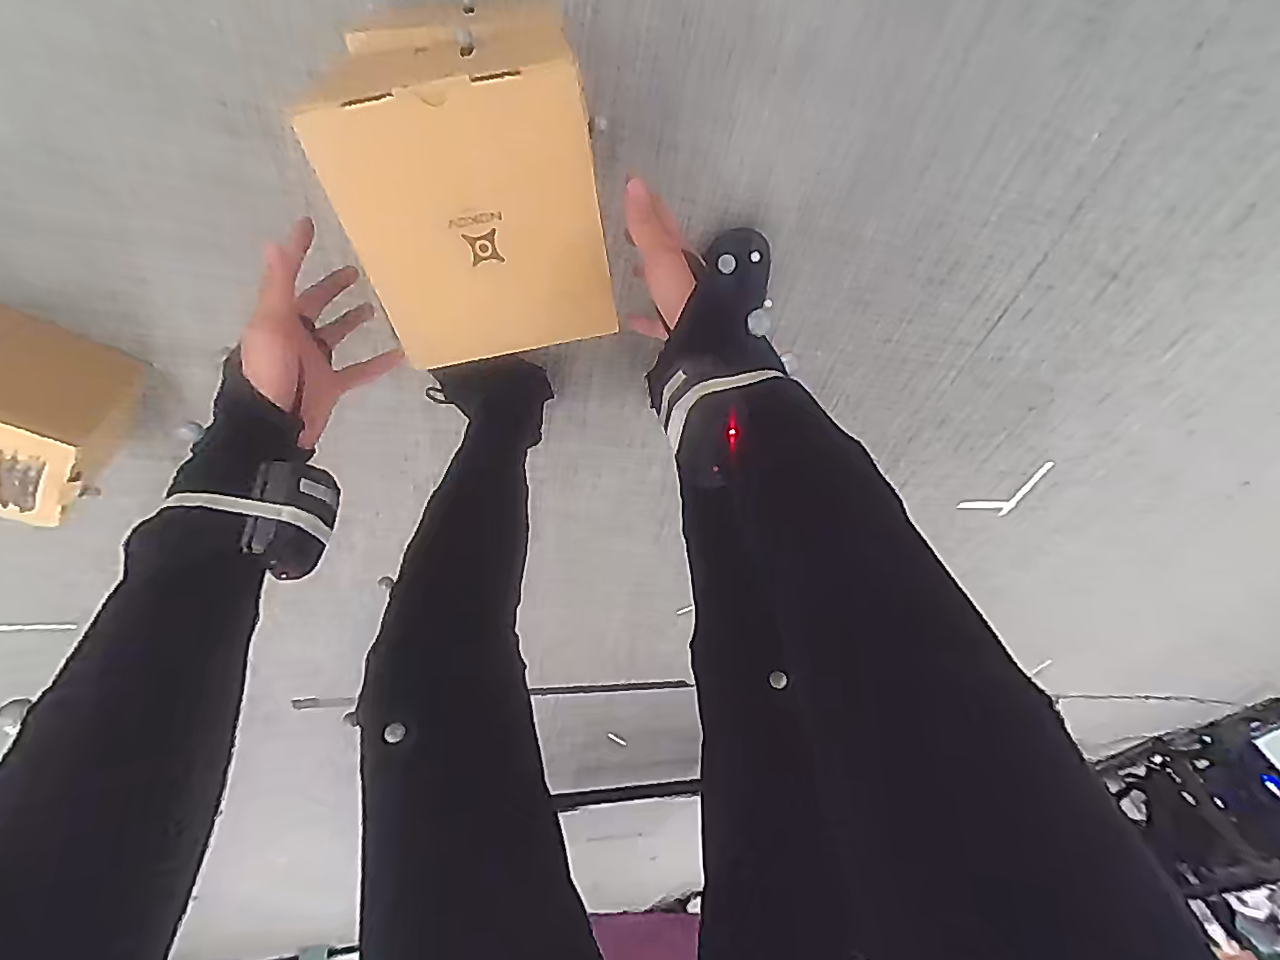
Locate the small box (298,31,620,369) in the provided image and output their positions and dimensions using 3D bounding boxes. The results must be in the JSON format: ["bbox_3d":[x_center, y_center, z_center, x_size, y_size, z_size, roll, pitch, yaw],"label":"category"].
[{"bbox_3d":[-0.114,-0.216,0.420,0.168,0.176,0.179,-11,135,-1],"label":"small box"}]

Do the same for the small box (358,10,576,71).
[{"bbox_3d":[-0.144,-0.337,0.525,0.168,0.176,0.179,-7,136,-5],"label":"small box"}]
